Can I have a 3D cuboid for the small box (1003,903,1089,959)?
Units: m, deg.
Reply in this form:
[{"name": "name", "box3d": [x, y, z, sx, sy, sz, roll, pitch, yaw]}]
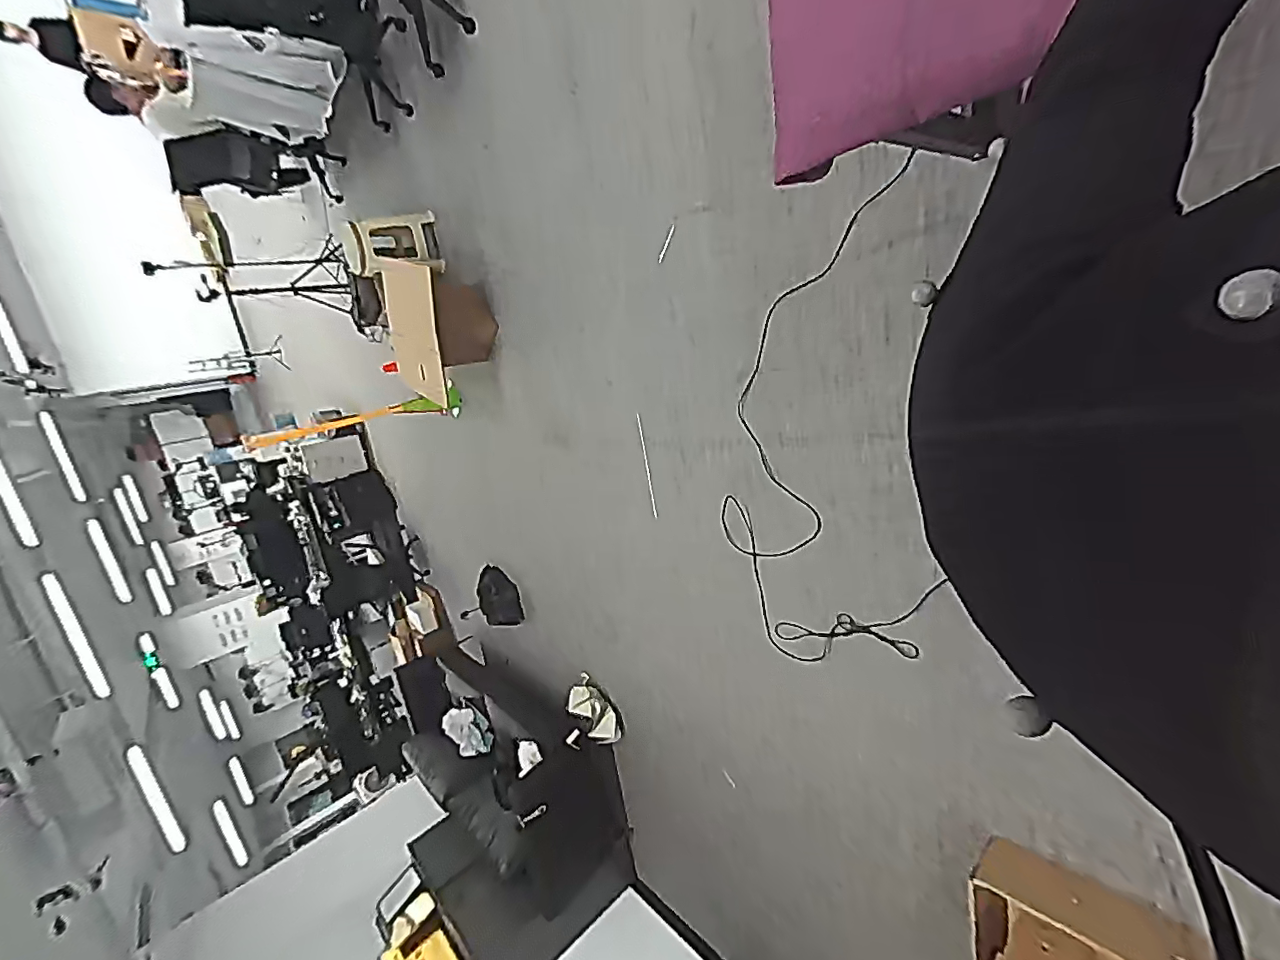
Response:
[{"name": "small box", "box3d": [1.145, 1.357, 1.521, 0.168, 0.176, 0.179, -2, 107, 48]}]
